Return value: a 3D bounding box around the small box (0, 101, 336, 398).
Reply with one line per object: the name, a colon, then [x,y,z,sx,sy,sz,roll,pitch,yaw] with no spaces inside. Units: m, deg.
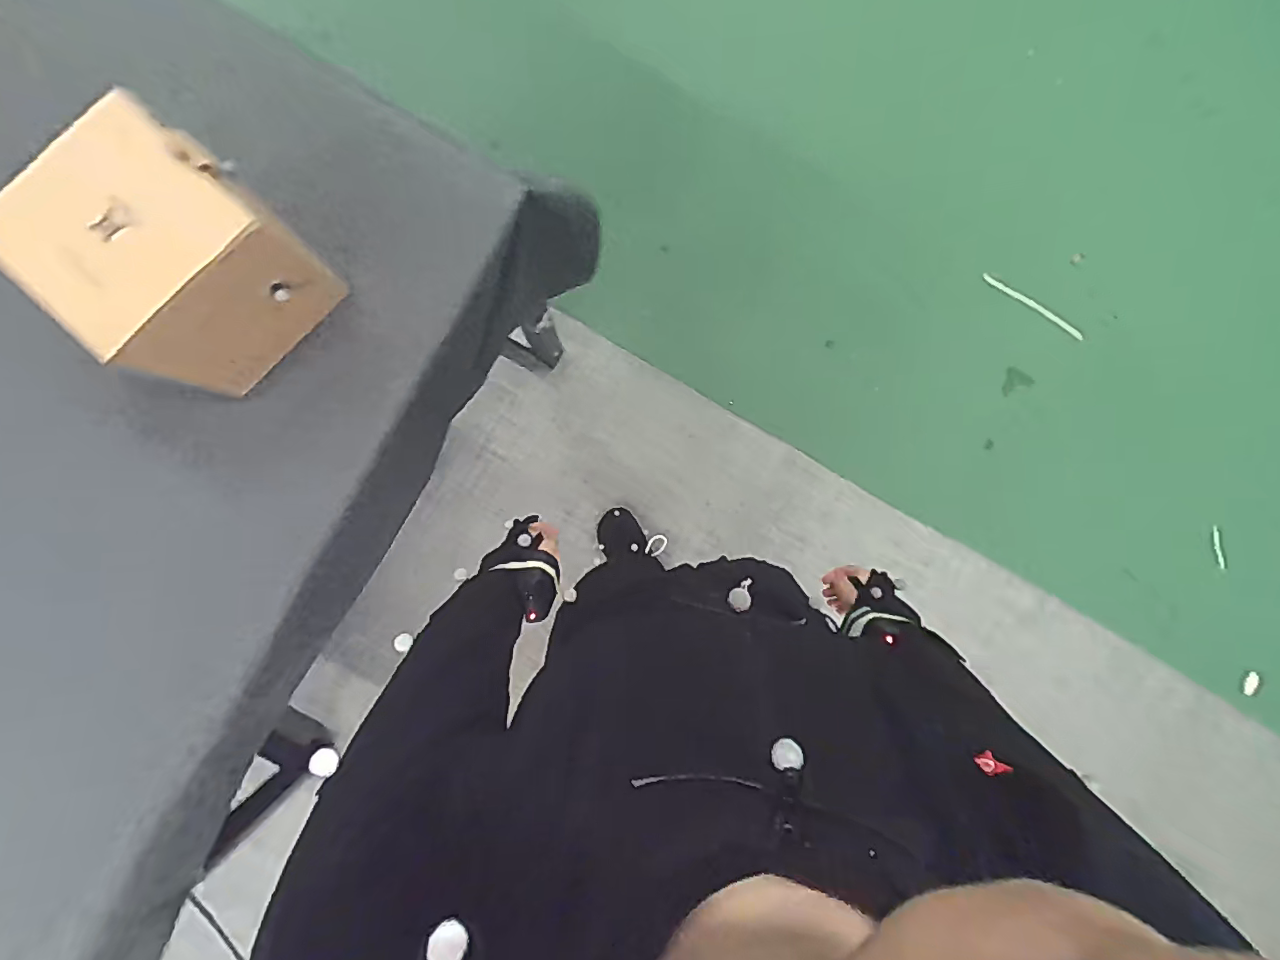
small box: [-0.444,-0.207,0.538,0.168,0.176,0.179,43,88,0]
